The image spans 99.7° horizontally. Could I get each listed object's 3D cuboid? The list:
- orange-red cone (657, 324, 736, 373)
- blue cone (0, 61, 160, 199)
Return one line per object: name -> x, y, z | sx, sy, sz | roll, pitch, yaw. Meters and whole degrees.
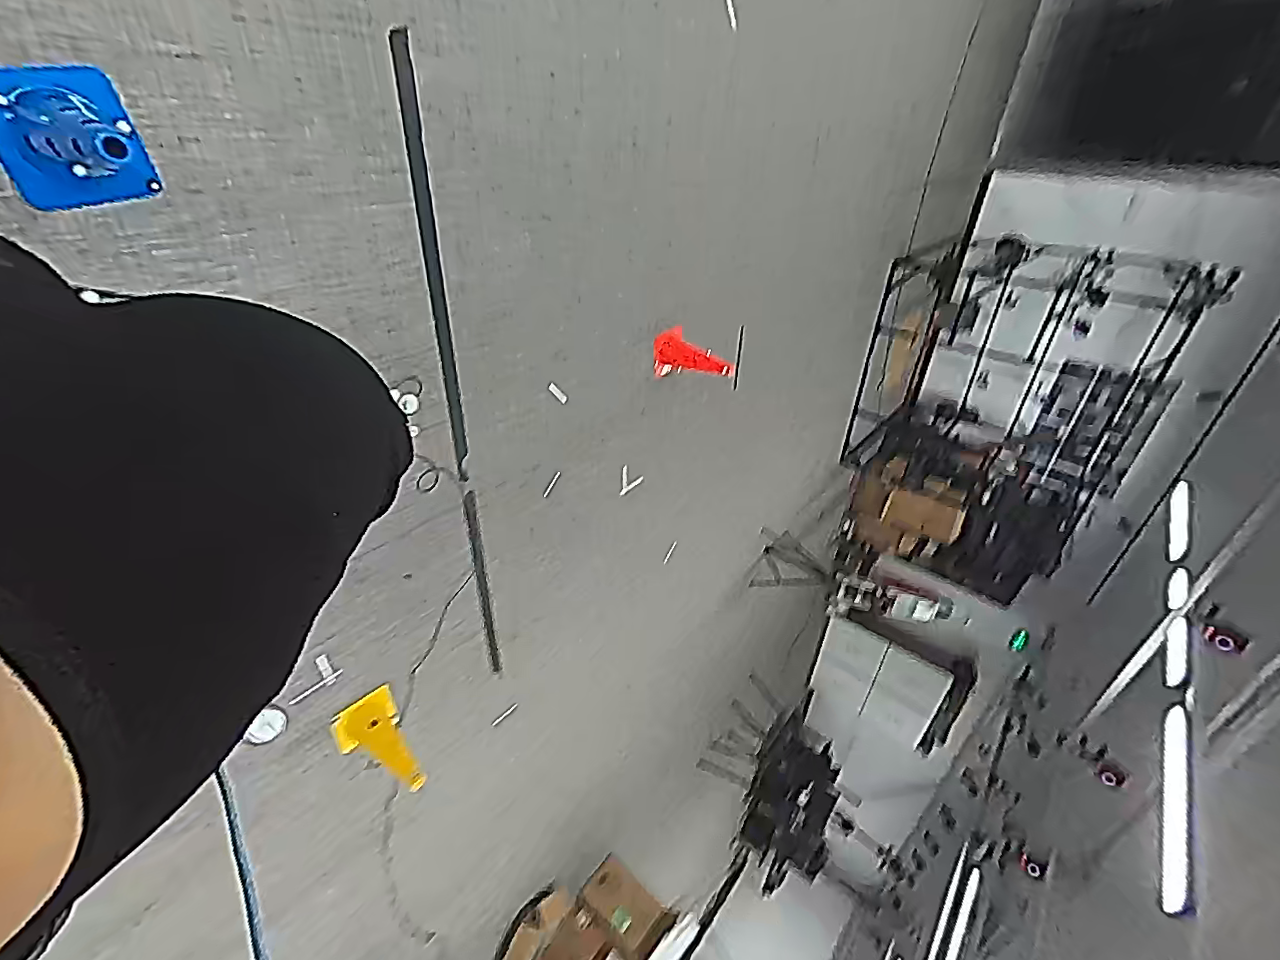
orange-red cone -> 0.271, -0.557, 2.442 | 0.198, 0.360, 0.199 | -36, 137, -38
blue cone -> -0.851, -0.534, 0.838 | 0.192, 0.380, 0.193 | -36, 138, -37
